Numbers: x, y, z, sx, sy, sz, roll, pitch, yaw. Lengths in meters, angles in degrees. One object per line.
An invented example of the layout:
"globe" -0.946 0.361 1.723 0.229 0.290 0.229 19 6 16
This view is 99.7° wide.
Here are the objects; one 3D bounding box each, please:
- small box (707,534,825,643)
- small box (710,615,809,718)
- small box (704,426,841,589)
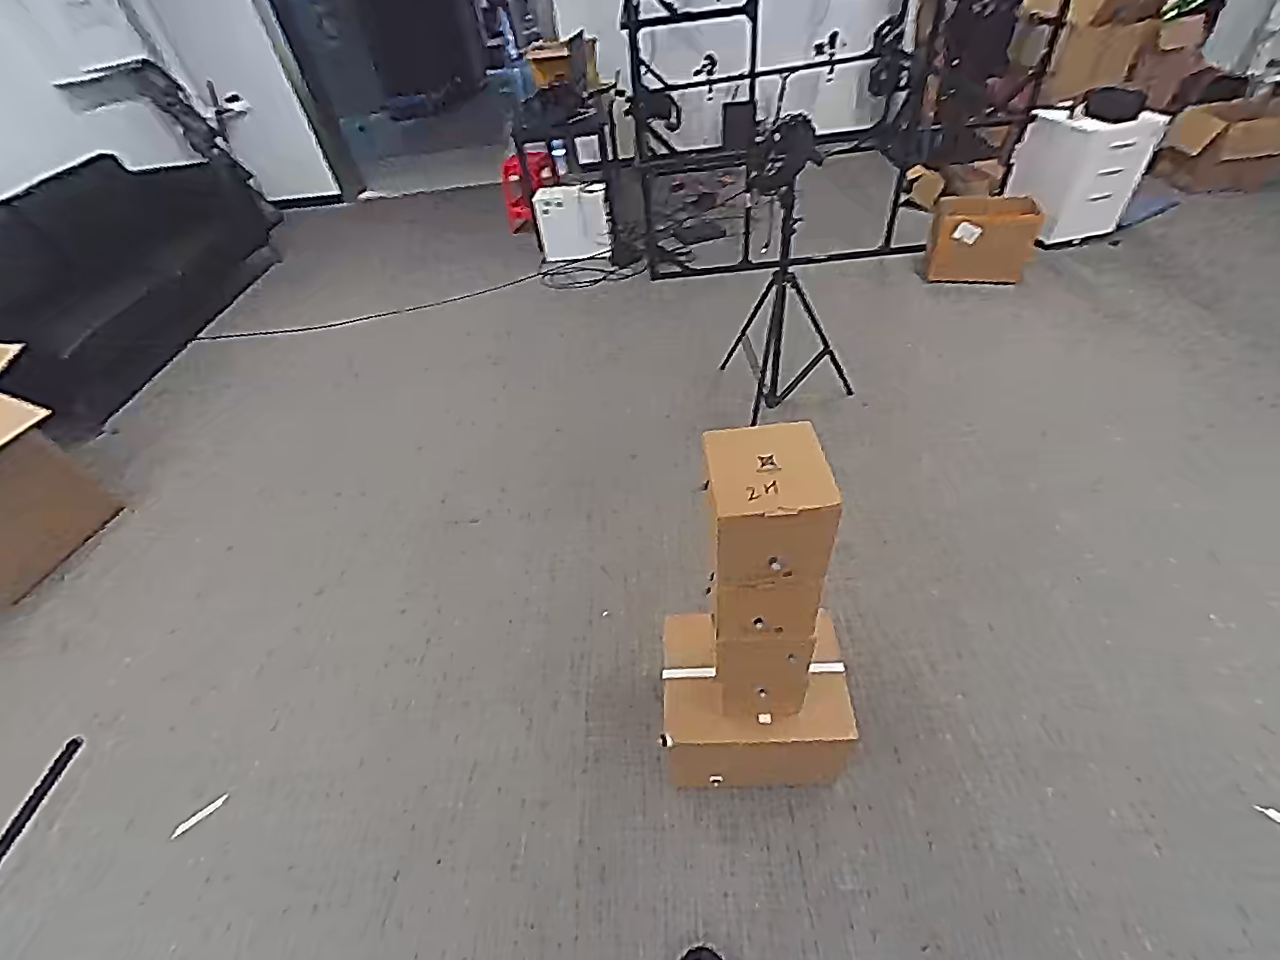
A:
"small box" 0.205 0.160 0.937 0.168 0.176 0.179 -5 46 3
"small box" 0.247 0.396 1.159 0.179 0.176 0.168 -5 46 2
"small box" 0.187 0.043 0.822 0.168 0.176 0.179 -6 46 3
